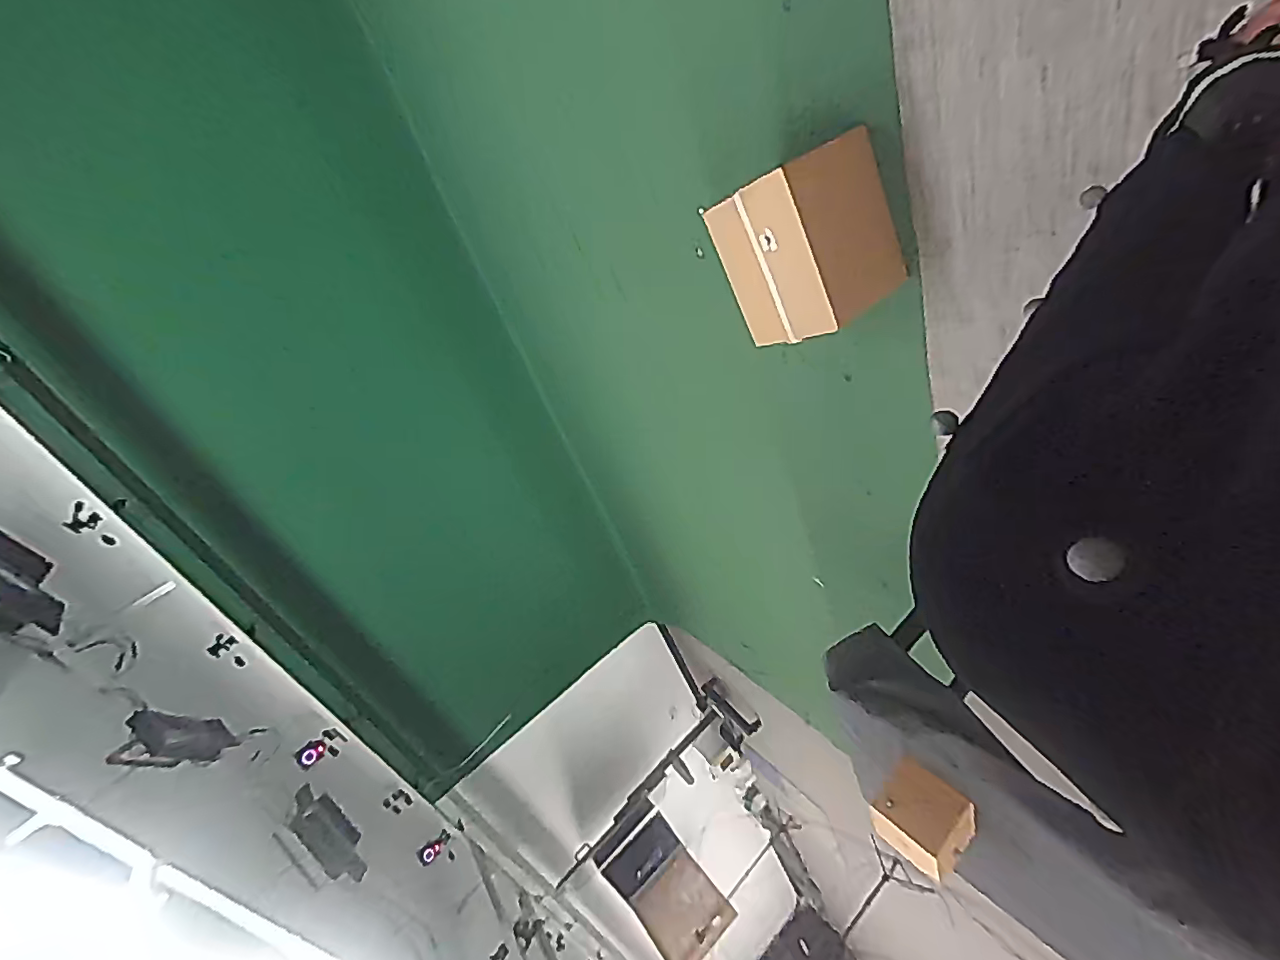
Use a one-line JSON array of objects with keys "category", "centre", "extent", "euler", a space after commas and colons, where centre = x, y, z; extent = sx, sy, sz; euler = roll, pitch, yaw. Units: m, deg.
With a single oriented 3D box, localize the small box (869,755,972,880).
[{"category": "small box", "centre": [0.710, 0.841, 1.361], "extent": [0.179, 0.176, 0.168], "euler": [26, 147, 51]}]
